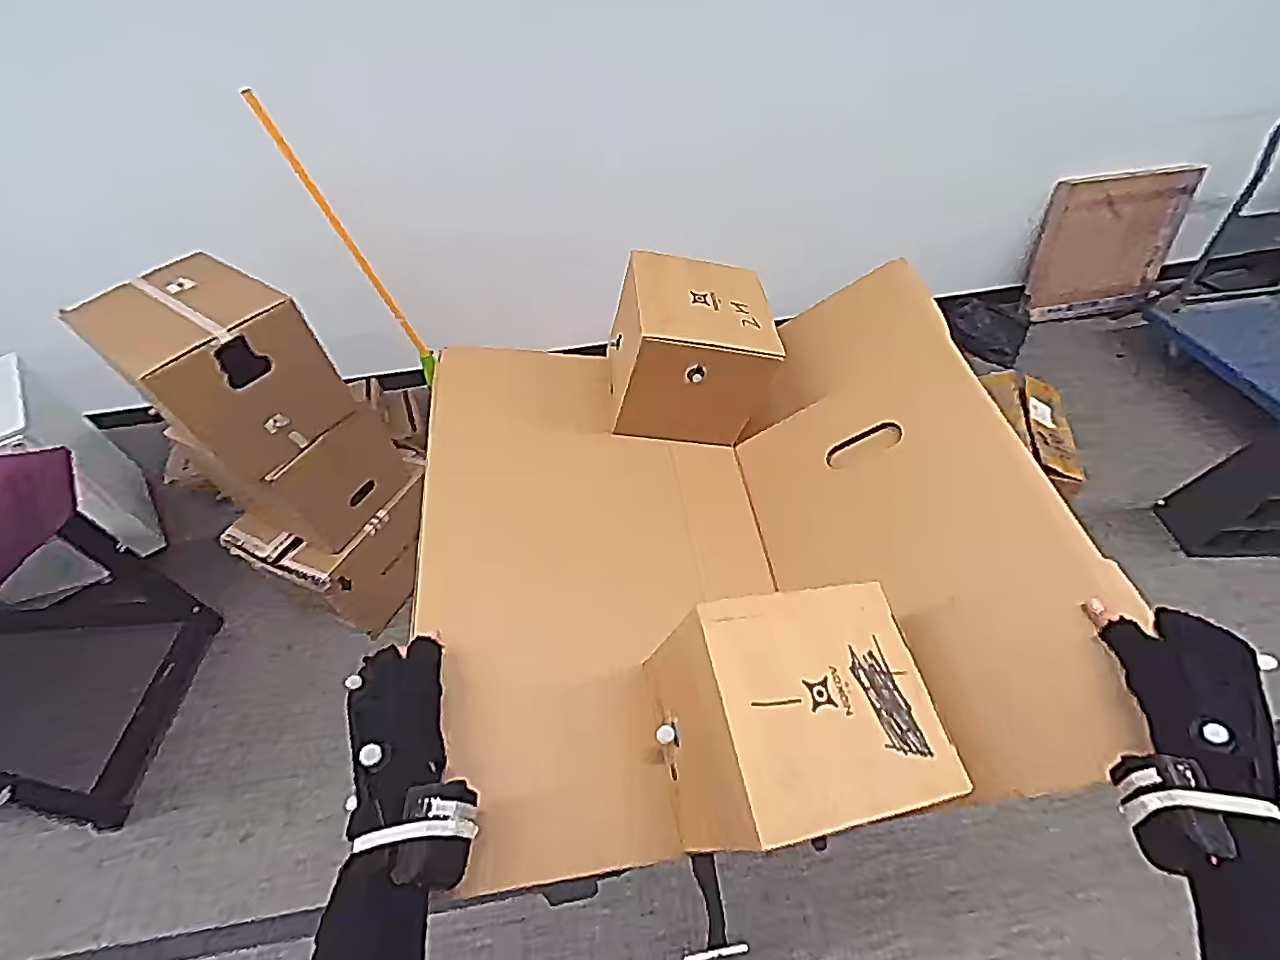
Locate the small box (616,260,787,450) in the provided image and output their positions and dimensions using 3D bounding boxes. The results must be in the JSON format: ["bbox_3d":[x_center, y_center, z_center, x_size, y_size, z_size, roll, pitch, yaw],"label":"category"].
[{"bbox_3d":[0.065,-0.156,0.712,0.179,0.176,0.168,6,54,-13],"label":"small box"}]
